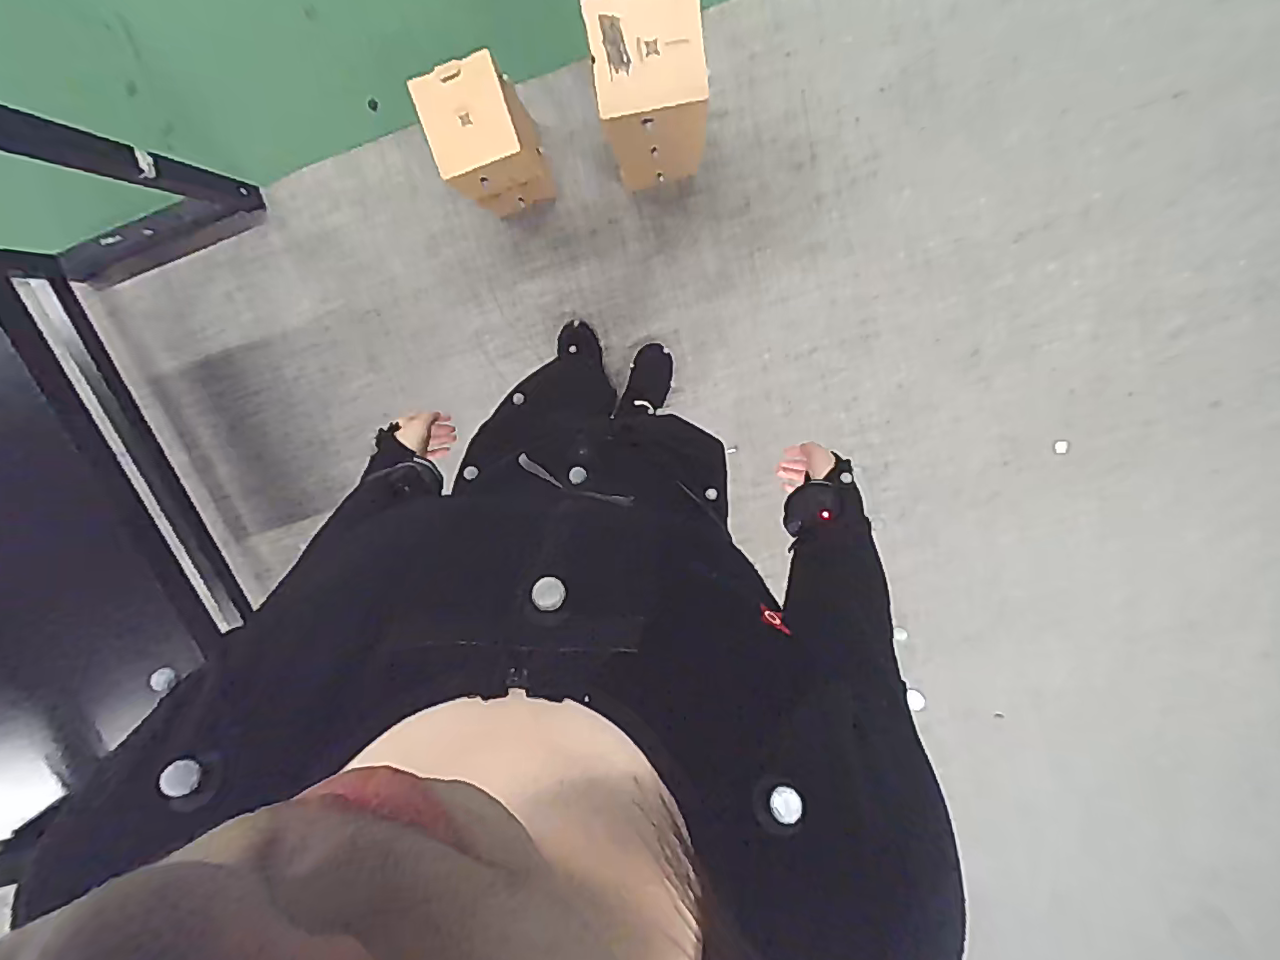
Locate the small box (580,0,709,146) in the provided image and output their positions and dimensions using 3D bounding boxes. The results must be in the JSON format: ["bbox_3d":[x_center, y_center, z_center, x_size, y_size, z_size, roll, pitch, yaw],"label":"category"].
[{"bbox_3d":[0.013,-0.668,0.878,0.179,0.176,0.168,-8,107,5],"label":"small box"}]

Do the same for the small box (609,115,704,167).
[{"bbox_3d":[0.027,-0.717,1.034,0.179,0.176,0.168,-5,107,4],"label":"small box"}]

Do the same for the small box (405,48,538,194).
[{"bbox_3d":[-0.318,-0.686,1.064,0.168,0.176,0.179,-17,104,8],"label":"small box"}]
